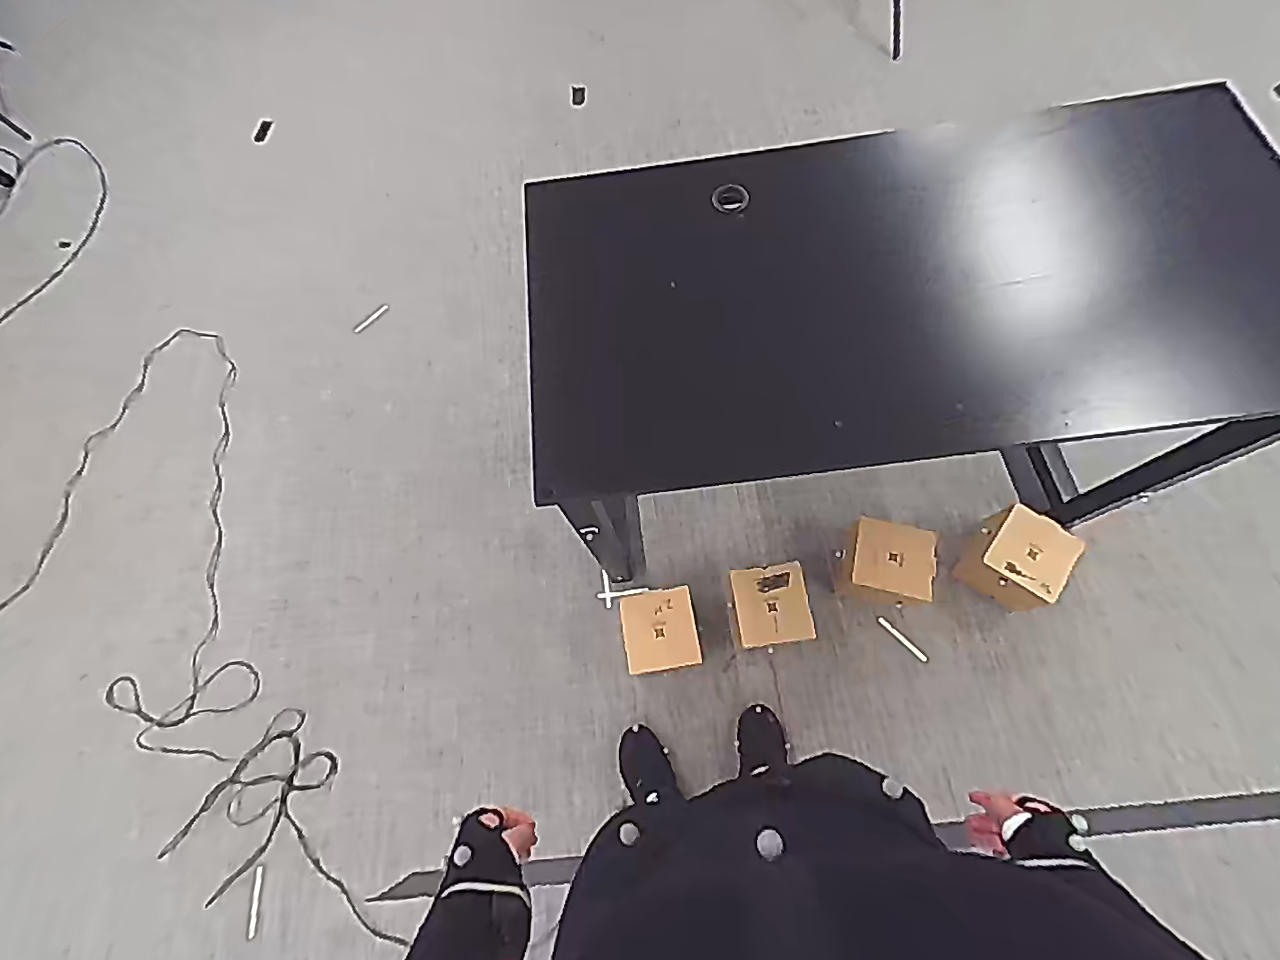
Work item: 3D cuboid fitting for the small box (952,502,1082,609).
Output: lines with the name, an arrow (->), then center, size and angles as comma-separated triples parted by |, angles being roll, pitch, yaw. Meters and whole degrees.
small box -> 0.889, 0.186, 1.293 | 0.168, 0.176, 0.179 | 34, 76, 16

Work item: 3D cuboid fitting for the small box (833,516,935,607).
small box -> 0.587, 0.205, 1.315 | 0.179, 0.176, 0.168 | 12, 70, 10

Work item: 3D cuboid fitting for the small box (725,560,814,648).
small box -> 0.303, 0.304, 1.302 | 0.168, 0.176, 0.179 | -8, 71, 2
